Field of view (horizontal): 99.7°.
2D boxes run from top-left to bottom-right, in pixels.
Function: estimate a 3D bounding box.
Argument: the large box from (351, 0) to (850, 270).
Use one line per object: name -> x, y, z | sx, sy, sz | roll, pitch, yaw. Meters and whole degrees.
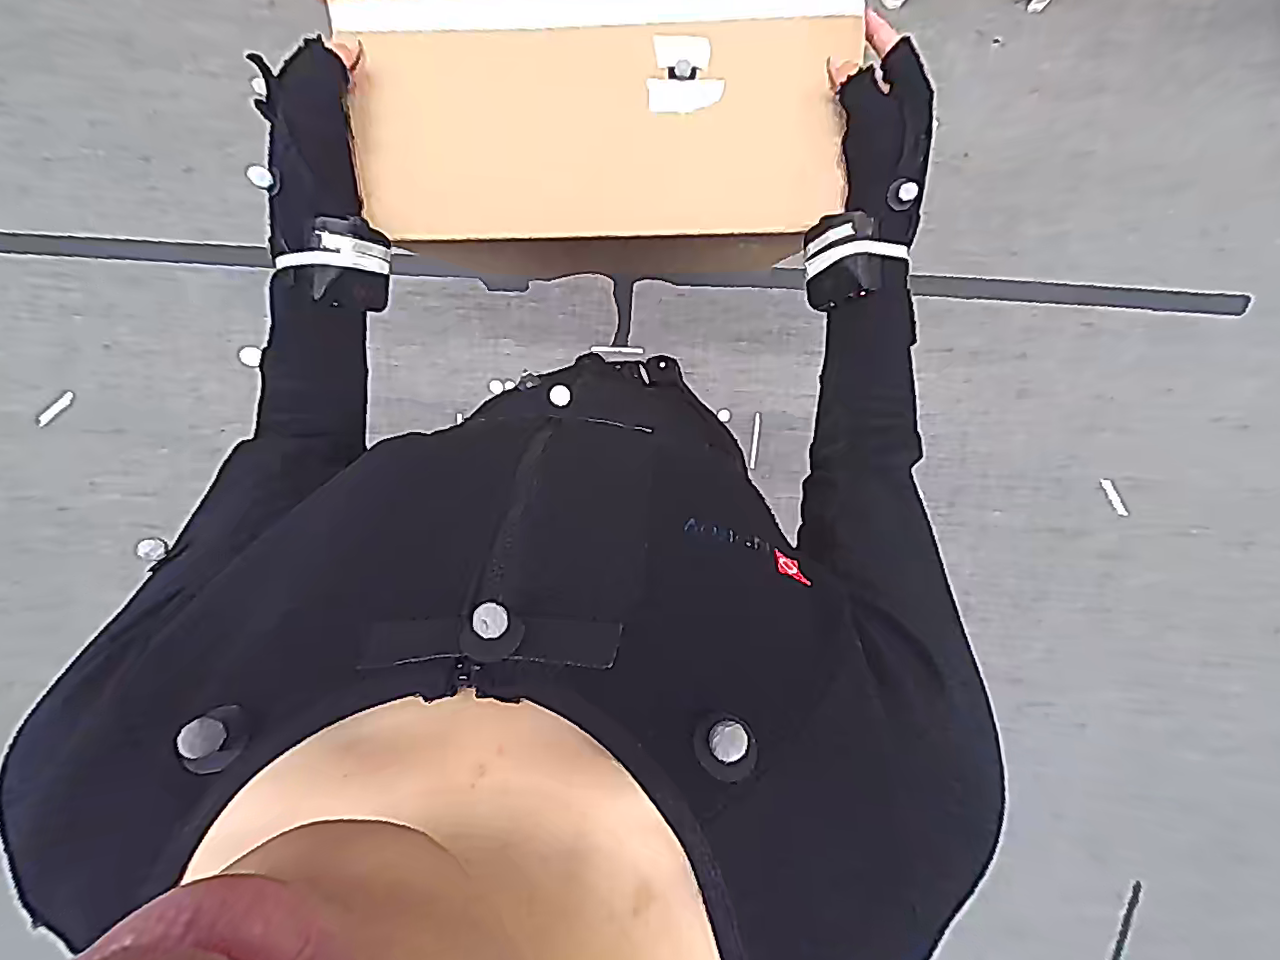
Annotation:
large box -> -0.033, -0.407, 0.573 | 0.408, 0.320, 0.320 | -1, 107, 0
